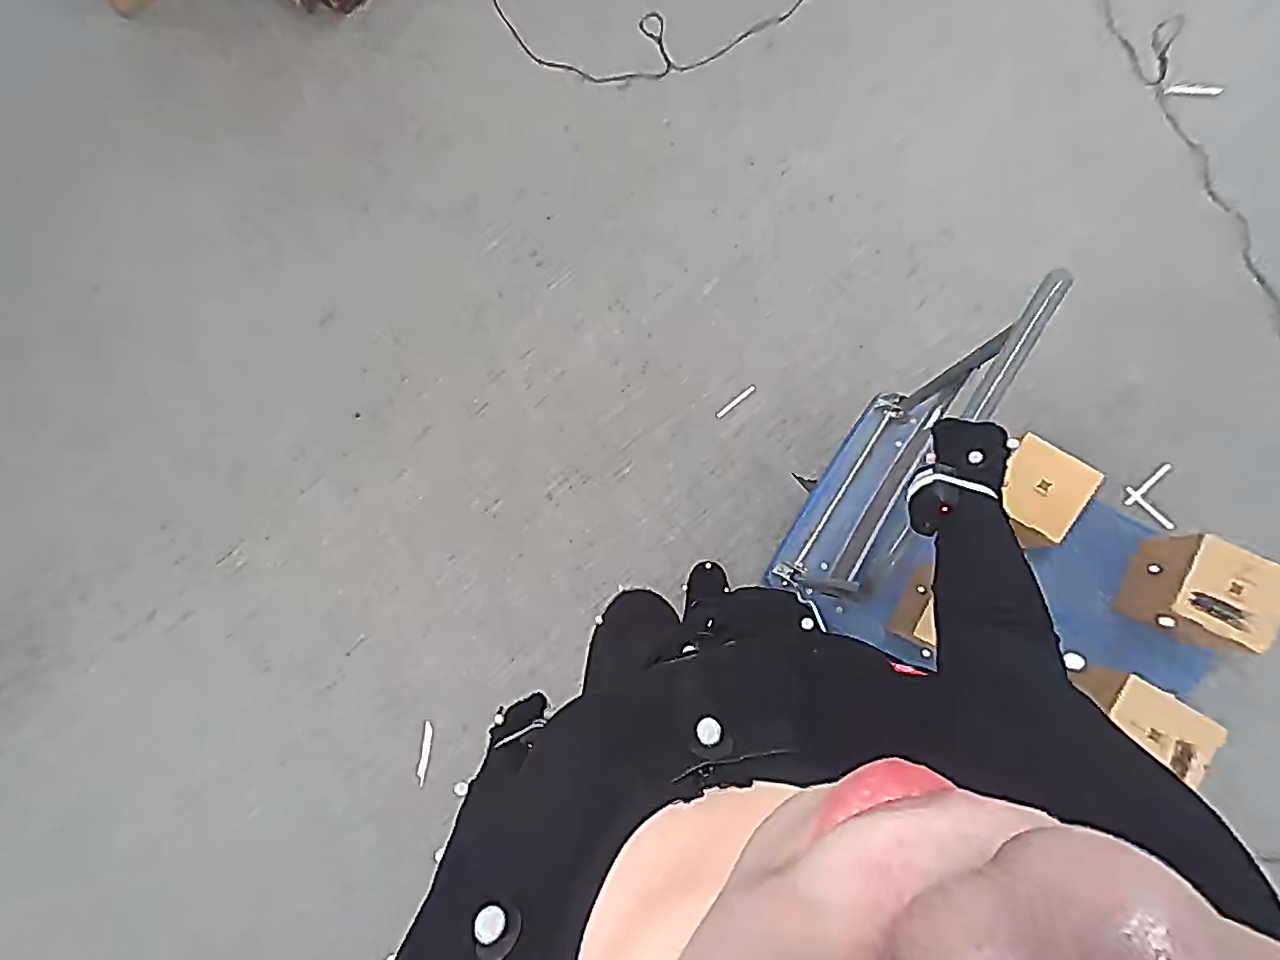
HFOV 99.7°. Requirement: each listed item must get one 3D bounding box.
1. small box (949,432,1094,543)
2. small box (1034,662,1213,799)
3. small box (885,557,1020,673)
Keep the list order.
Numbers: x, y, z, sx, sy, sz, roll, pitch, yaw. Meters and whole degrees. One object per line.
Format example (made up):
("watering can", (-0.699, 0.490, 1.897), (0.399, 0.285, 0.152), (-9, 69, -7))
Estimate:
("small box", (0.828, 0.024, 1.196), (0.168, 0.176, 0.179), (35, 87, 11))
("small box", (0.962, 0.491, 1.095), (0.179, 0.176, 0.168), (33, 85, 12))
("small box", (0.662, 0.284, 1.169), (0.168, 0.176, 0.179), (30, 84, 11))
